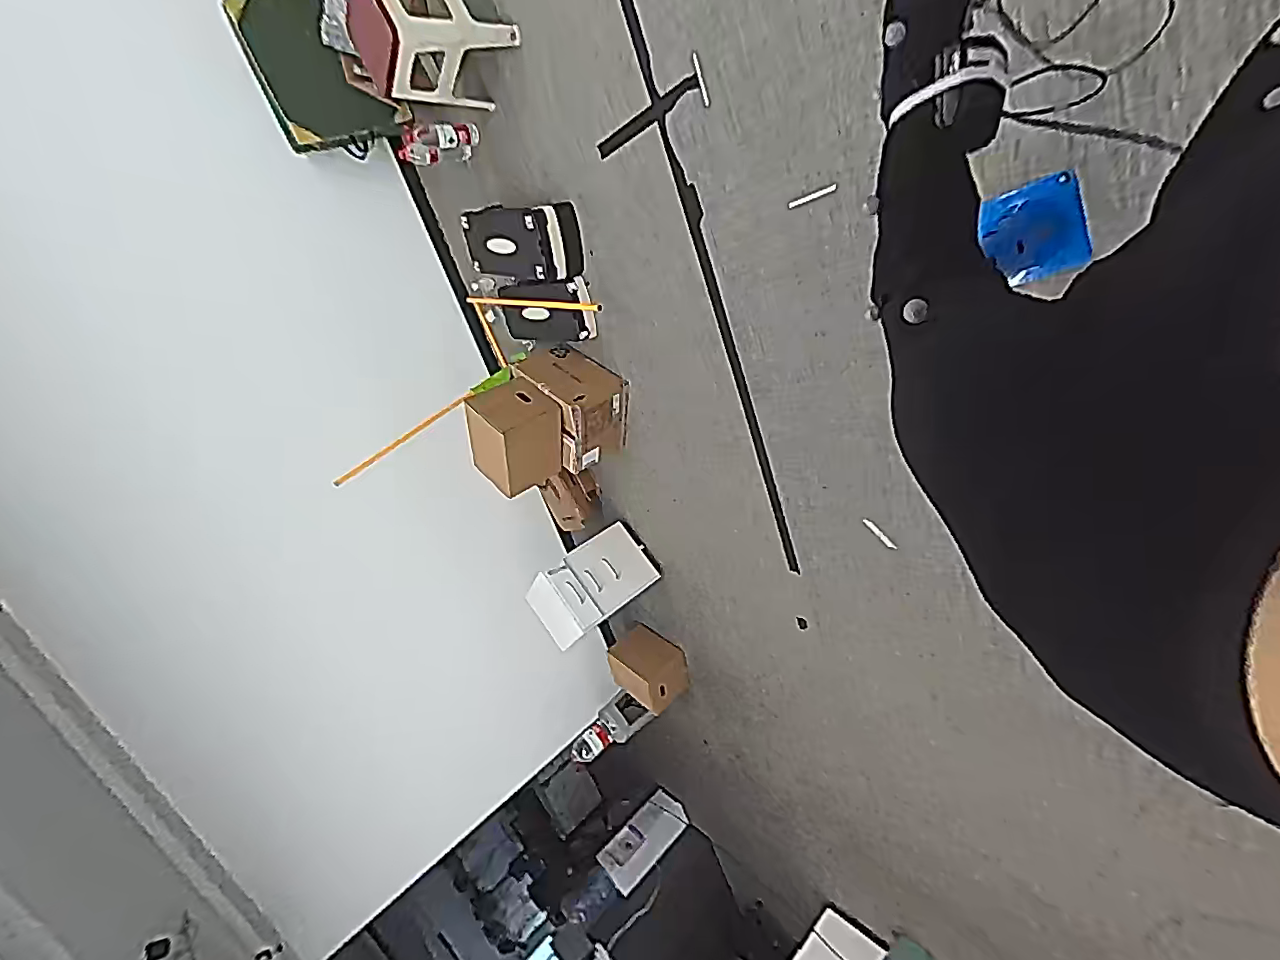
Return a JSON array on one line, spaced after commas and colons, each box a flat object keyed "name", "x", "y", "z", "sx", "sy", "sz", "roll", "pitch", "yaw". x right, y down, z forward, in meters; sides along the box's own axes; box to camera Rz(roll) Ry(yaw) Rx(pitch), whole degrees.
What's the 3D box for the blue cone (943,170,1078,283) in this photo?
[{"name": "blue cone", "x": 0.711, "y": -0.468, "z": 1.091, "sx": 0.193, "sy": 0.380, "sz": 0.192, "roll": -1, "pitch": 115, "yaw": 55}]
